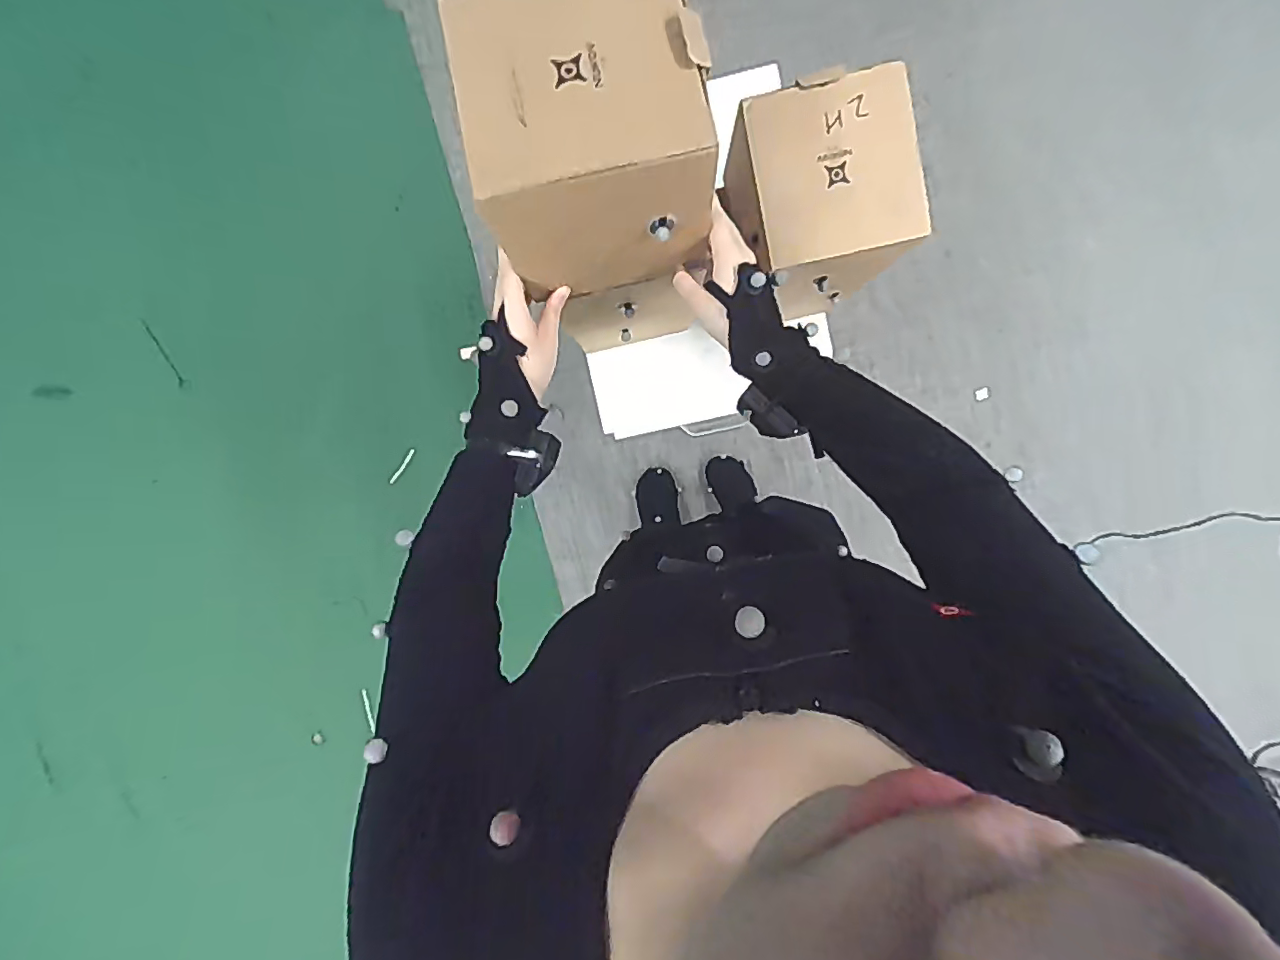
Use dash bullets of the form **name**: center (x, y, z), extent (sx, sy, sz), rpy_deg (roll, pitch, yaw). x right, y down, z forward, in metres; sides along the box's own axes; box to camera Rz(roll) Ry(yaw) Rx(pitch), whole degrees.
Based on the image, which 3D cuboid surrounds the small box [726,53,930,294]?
- **small box**: center (0.200, -0.326, 0.620), extent (0.168, 0.176, 0.179), rpy_deg (-12, 94, 4)

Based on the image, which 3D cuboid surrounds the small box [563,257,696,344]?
- **small box**: center (-0.023, -0.309, 0.797), extent (0.179, 0.176, 0.168), rpy_deg (-13, 95, 2)

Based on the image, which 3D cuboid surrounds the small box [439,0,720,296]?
- **small box**: center (-0.040, -0.281, 0.458), extent (0.179, 0.176, 0.168), rpy_deg (-12, 84, 3)
